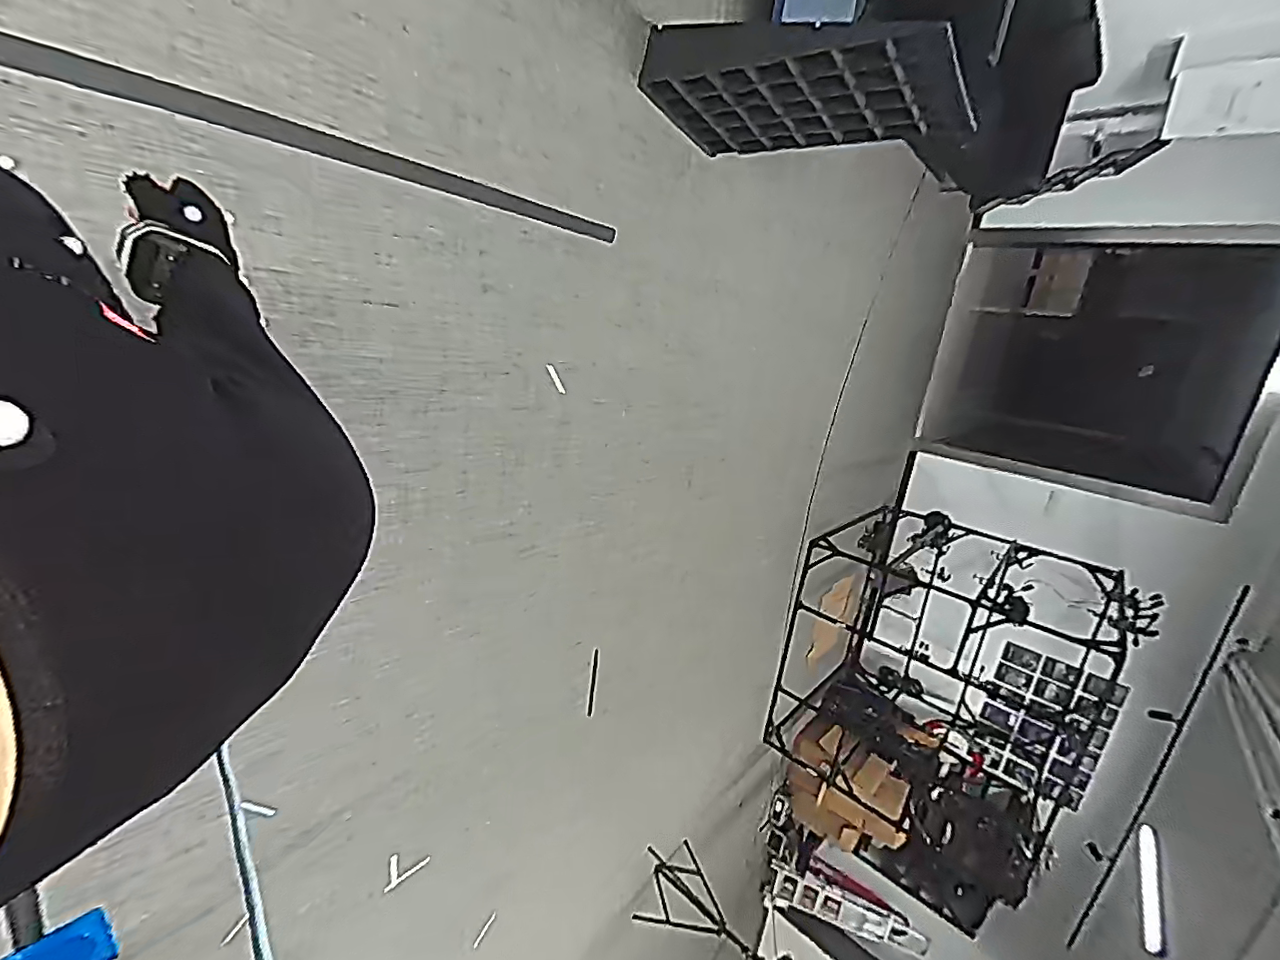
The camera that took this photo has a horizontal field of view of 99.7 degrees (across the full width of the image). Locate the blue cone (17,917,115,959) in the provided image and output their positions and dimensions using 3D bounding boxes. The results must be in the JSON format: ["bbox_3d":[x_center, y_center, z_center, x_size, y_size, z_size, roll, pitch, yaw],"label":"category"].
[{"bbox_3d":[-1.259,1.202,1.180,0.192,0.380,0.193,-16,118,-49],"label":"blue cone"}]
